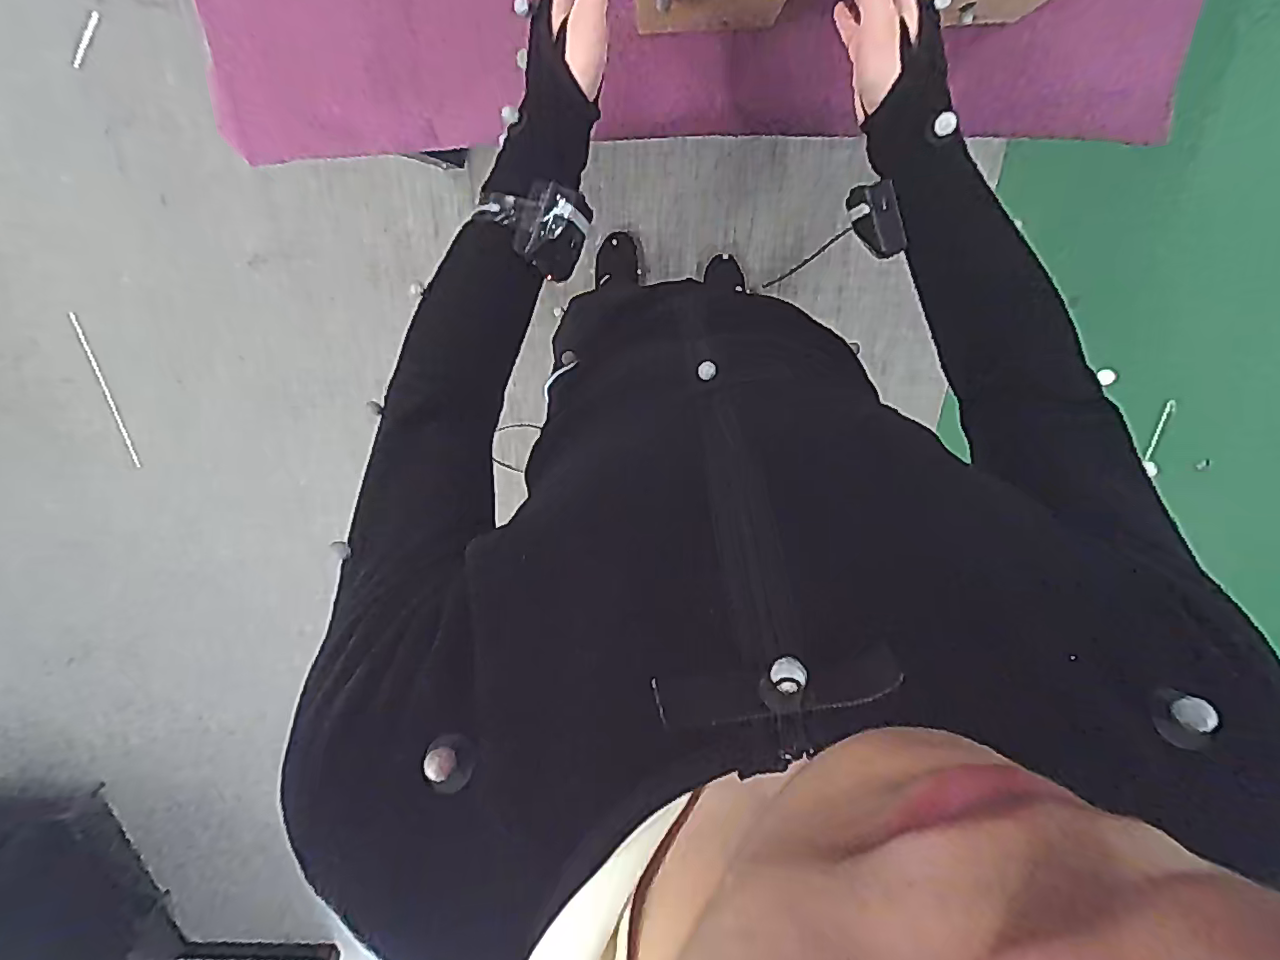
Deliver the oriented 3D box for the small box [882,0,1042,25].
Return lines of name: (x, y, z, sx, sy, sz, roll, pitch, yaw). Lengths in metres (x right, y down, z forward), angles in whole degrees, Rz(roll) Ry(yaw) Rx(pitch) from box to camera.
small box: (0.366, -0.601, 0.547, 0.168, 0.176, 0.179, 0, 114, 2)
